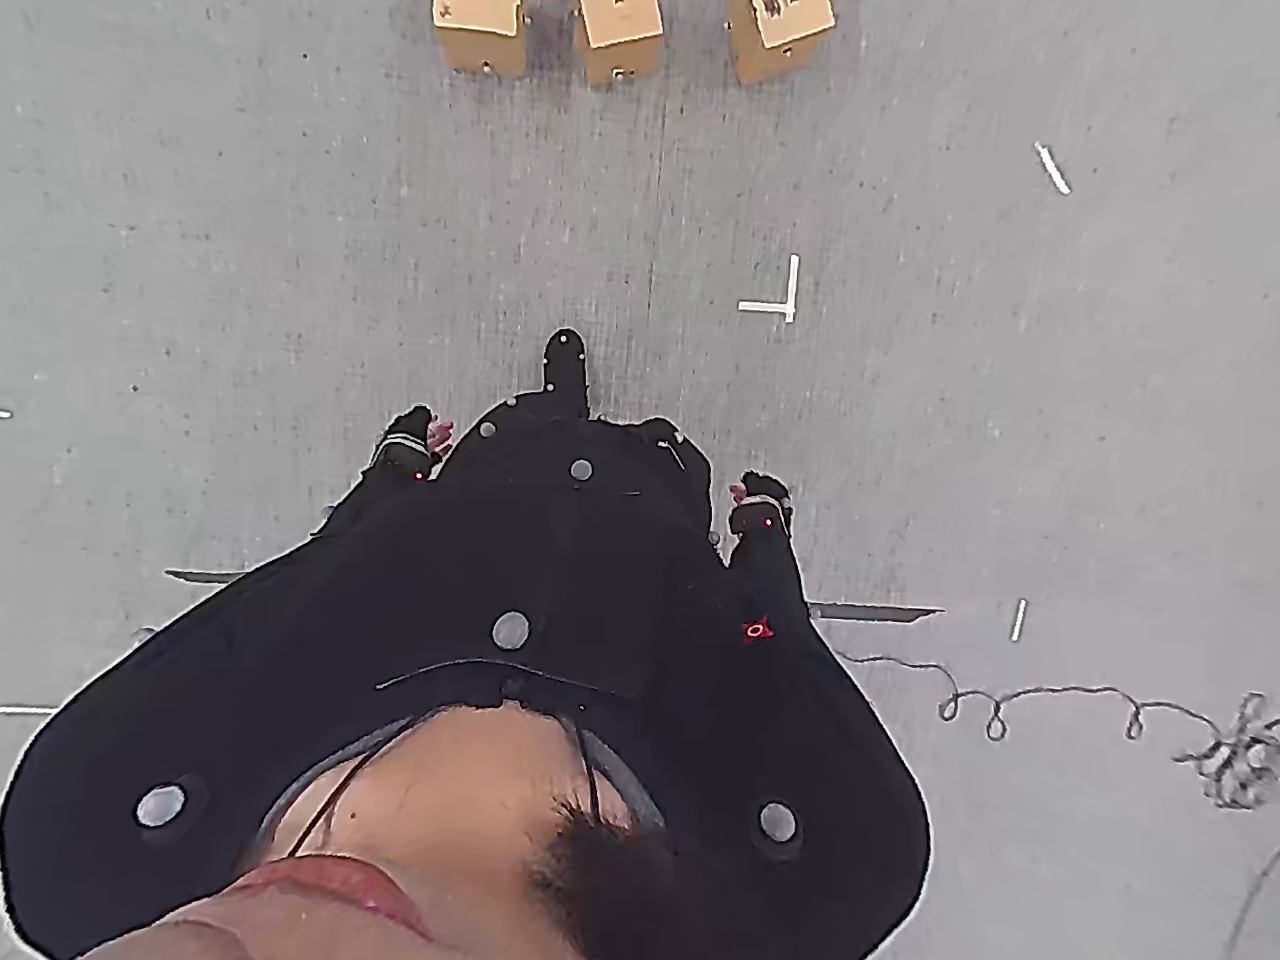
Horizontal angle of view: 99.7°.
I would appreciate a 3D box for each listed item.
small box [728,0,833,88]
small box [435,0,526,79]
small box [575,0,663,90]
[{"bbox_3d":[0.318,-1.070,1.272,0.179,0.176,0.168,-21,102,-3],"label":"small box"},{"bbox_3d":[-0.350,-1.037,1.211,0.179,0.176,0.168,2,100,-7],"label":"small box"},{"bbox_3d":[-0.053,-1.046,1.240,0.168,0.176,0.179,-14,102,-2],"label":"small box"}]
